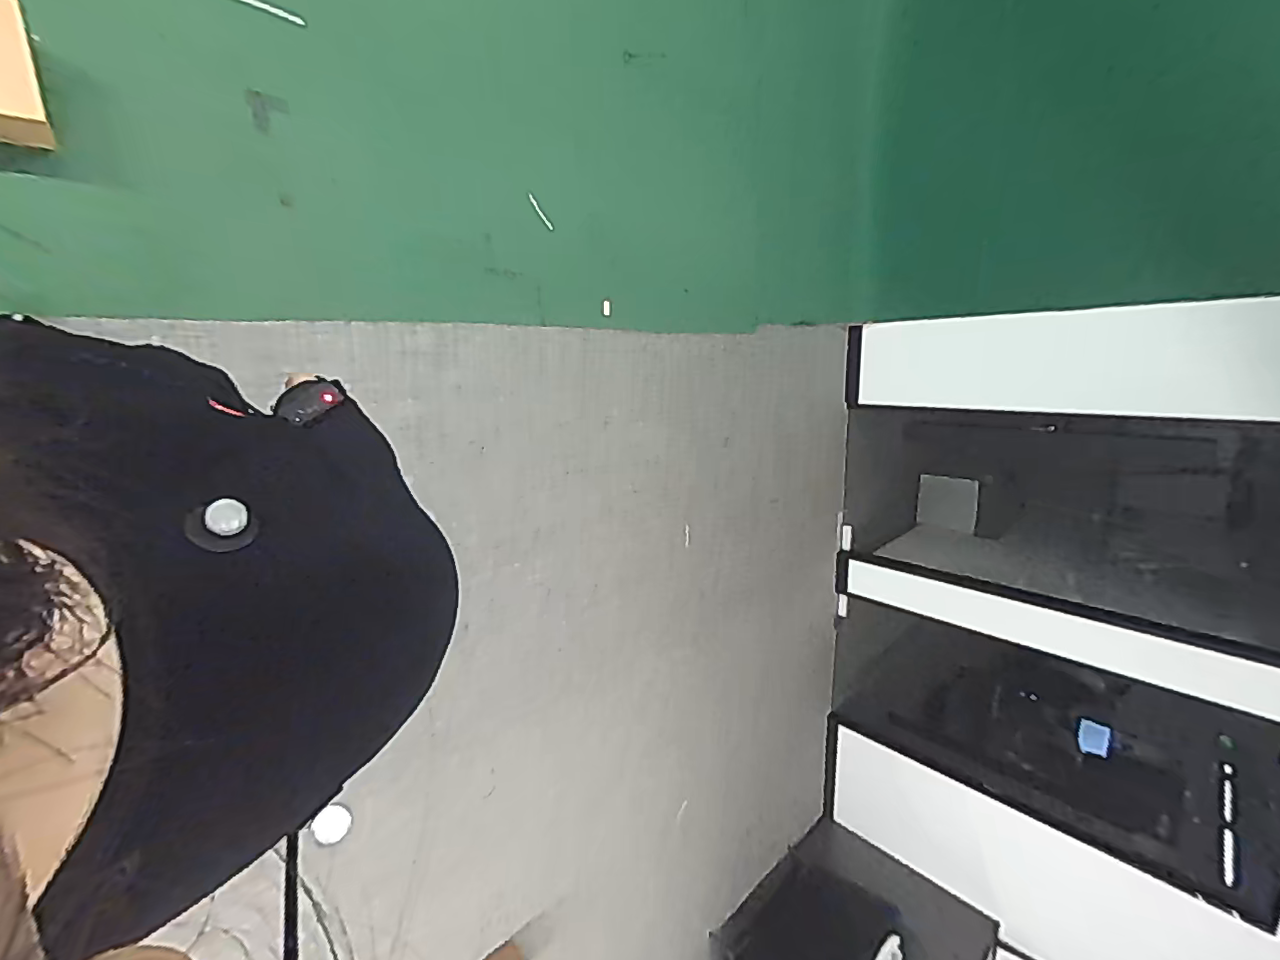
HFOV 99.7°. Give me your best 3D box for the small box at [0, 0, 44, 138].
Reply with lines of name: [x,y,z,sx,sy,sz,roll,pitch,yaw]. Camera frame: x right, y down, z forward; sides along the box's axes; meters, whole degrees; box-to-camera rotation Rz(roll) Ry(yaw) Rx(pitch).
small box: [-1.083,-0.670,0.850,0.168,0.176,0.179,-13,108,-41]

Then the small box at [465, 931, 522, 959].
small box: [-0.536,1.807,1.954,0.179,0.176,0.168,-12,108,-44]
